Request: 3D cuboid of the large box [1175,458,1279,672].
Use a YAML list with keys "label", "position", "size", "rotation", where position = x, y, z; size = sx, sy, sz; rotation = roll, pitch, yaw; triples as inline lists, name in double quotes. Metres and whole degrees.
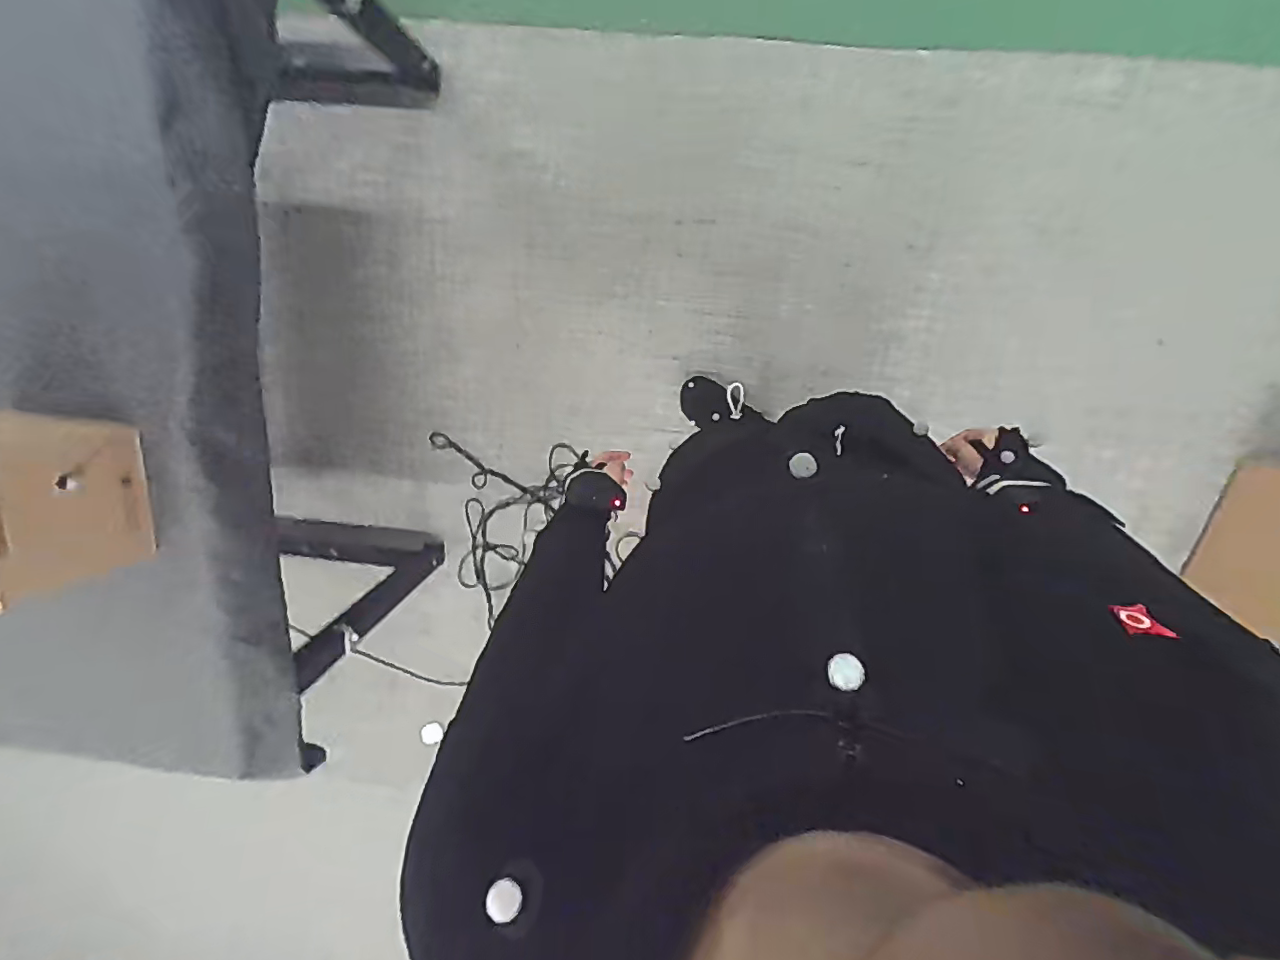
- label: "large box"
  position: [1.475, 0.198, 1.129]
  size: [0.320, 0.320, 0.408]
  rotation: [11, 106, 3]
